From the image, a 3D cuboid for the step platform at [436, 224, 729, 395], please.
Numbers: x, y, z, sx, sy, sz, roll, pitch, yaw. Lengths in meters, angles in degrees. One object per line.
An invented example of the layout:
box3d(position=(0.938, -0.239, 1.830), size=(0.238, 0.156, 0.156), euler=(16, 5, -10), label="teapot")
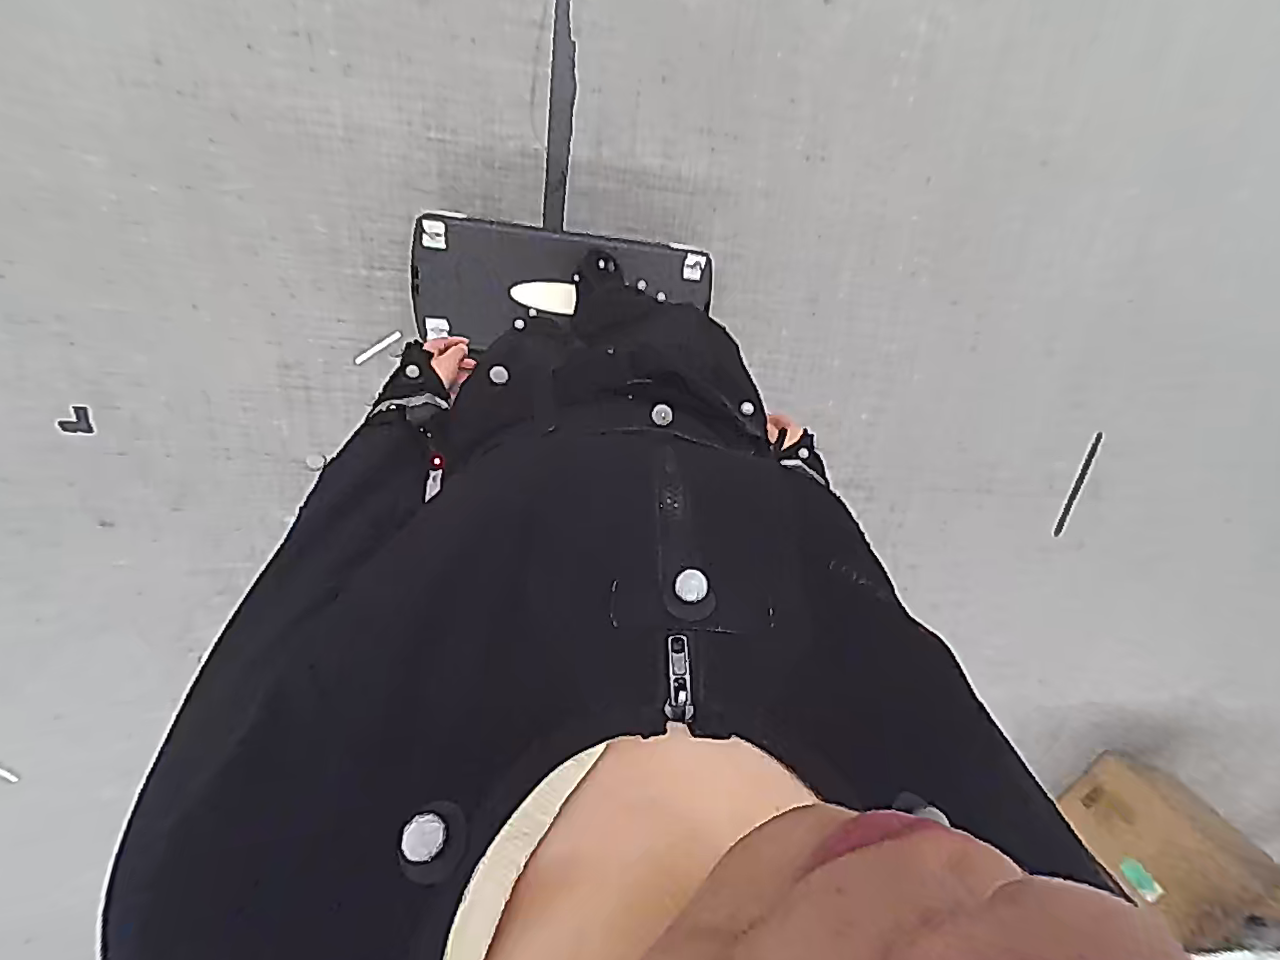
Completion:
box3d(position=(-0.134, -0.403, 1.315), size=(0.684, 0.204, 0.286), euler=(7, 110, -13), label="step platform")
